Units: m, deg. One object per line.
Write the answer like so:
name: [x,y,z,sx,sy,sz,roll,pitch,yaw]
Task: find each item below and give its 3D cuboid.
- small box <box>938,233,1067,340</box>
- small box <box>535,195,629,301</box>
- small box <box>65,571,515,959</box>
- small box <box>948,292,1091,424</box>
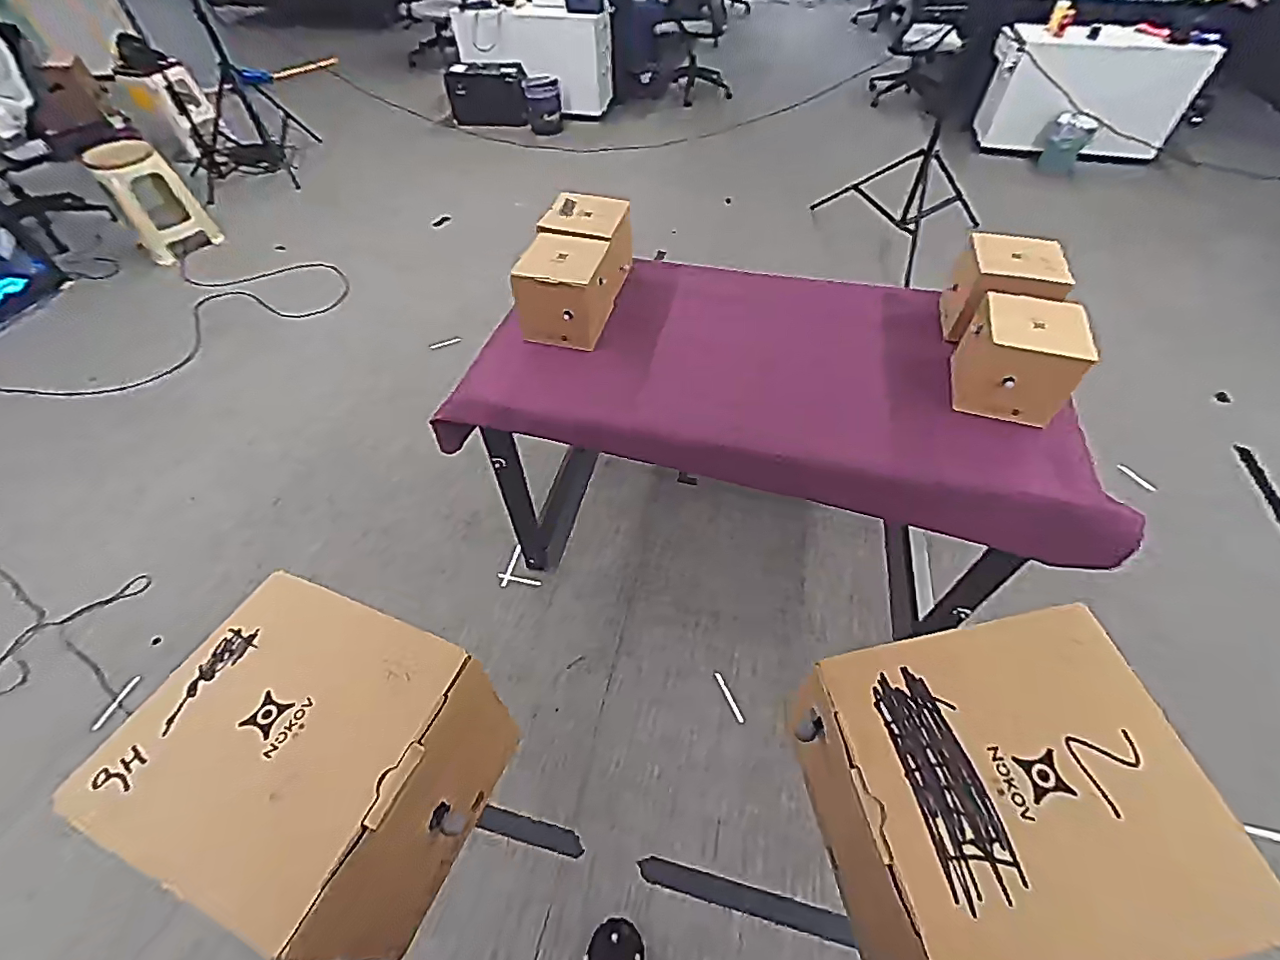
small box: [0.769,-0.408,1.174,0.179,0.176,0.168,12,54,9]
small box: [-0.132,-0.556,1.302,0.179,0.176,0.168,13,55,9]
small box: [-0.211,0.199,0.388,0.179,0.176,0.168,17,51,15]
small box: [0.717,-0.233,1.044,0.168,0.176,0.179,14,52,12]
